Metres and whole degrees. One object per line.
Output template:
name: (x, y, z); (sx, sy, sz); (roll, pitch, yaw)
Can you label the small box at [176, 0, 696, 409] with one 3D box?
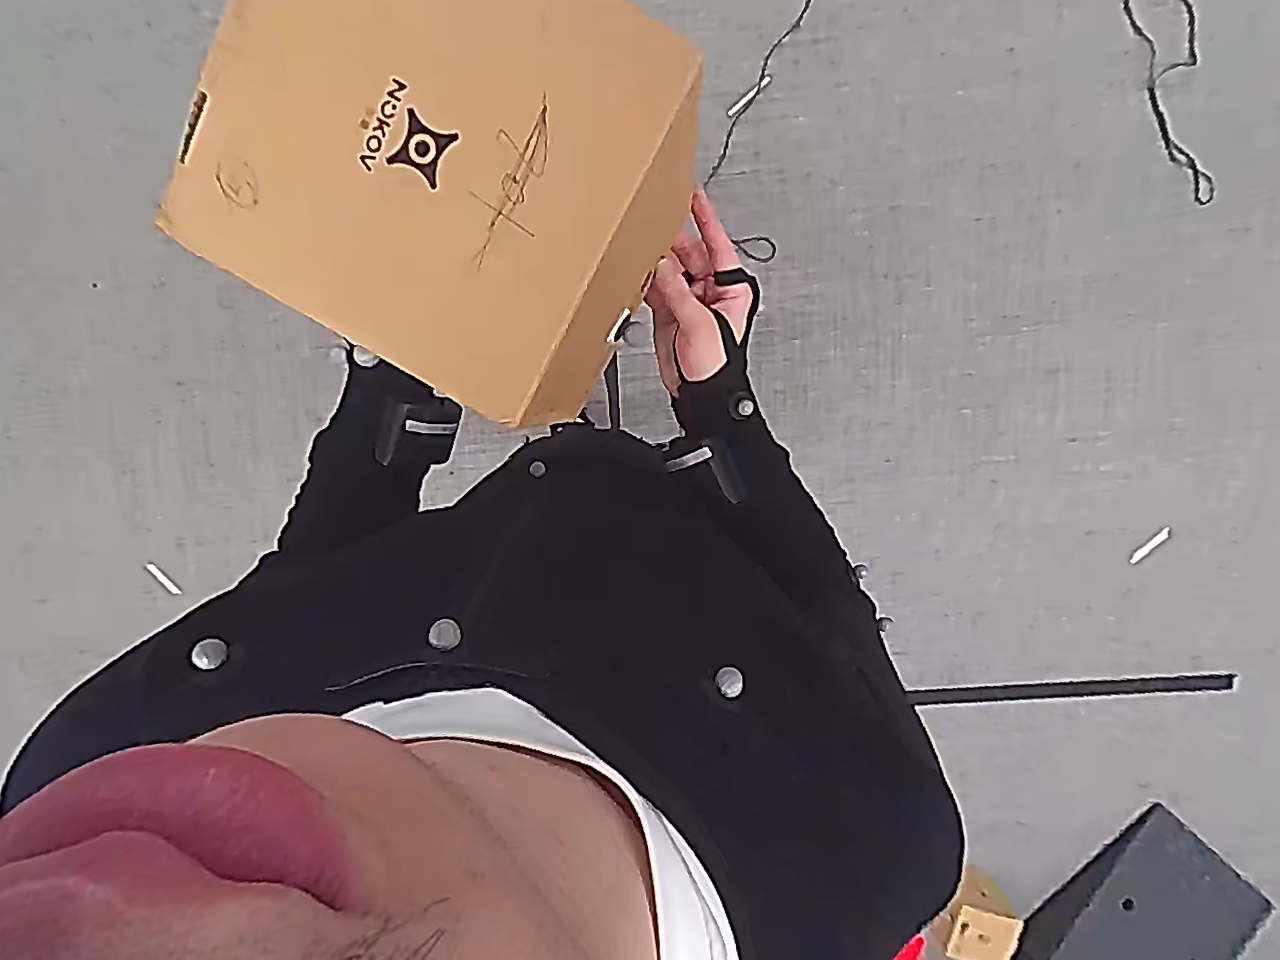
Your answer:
small box: (-0.087, -0.151, 0.306); (0.179, 0.176, 0.168); (29, 99, -2)
